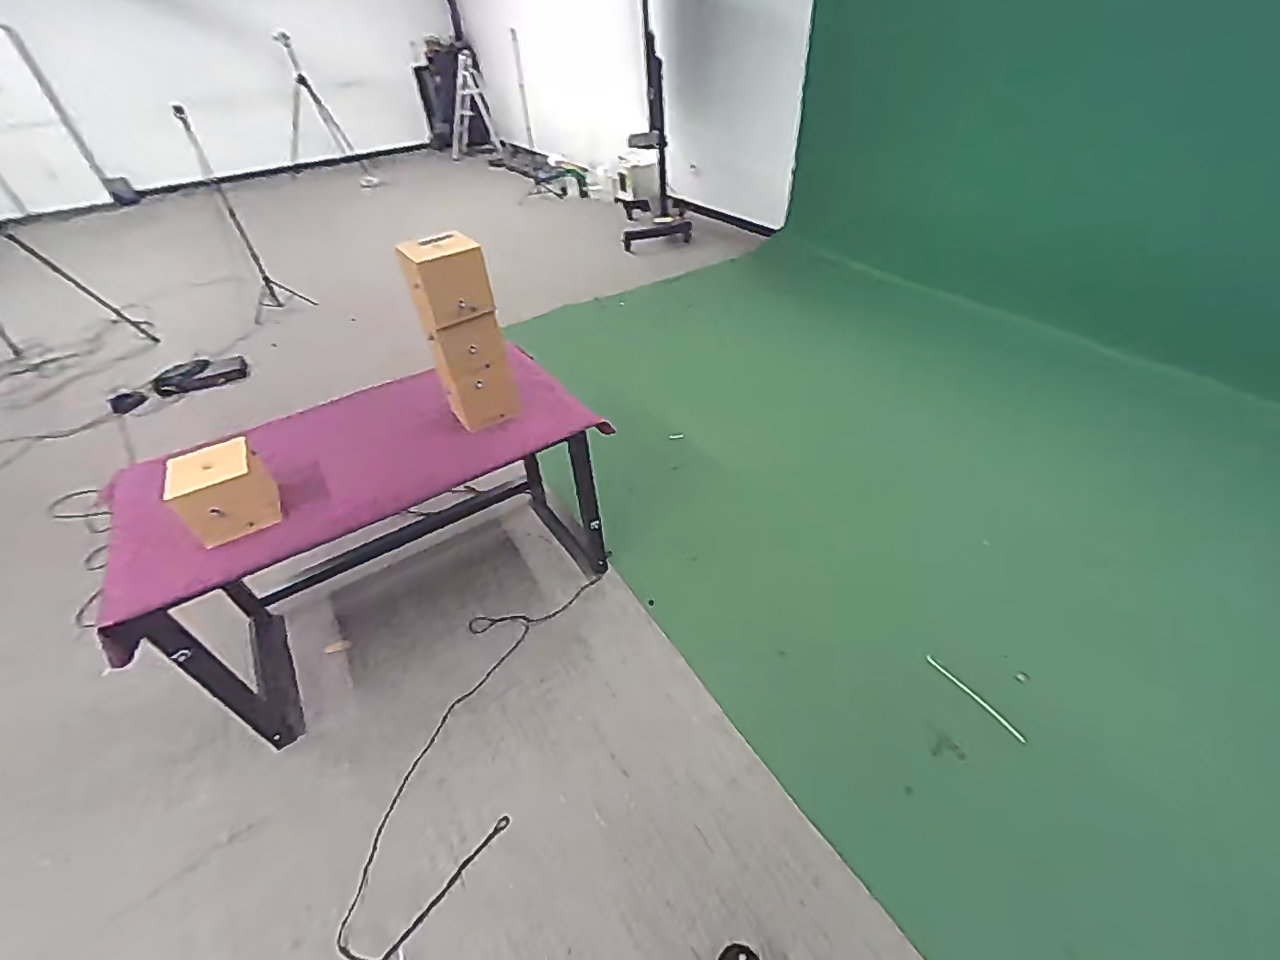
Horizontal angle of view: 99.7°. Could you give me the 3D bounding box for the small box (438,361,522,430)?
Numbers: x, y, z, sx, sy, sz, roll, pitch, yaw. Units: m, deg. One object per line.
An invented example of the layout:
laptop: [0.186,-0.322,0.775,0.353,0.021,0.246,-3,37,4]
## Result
small box: [-0.471,-0.275,1.602,0.168,0.176,0.179,-28,45,-22]

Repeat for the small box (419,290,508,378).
small box: [-0.484,-0.400,1.495,0.168,0.176,0.179,-25,44,-22]

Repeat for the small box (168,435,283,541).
small box: [-0.998,0.025,1.315,0.168,0.176,0.179,-25,45,-21]
